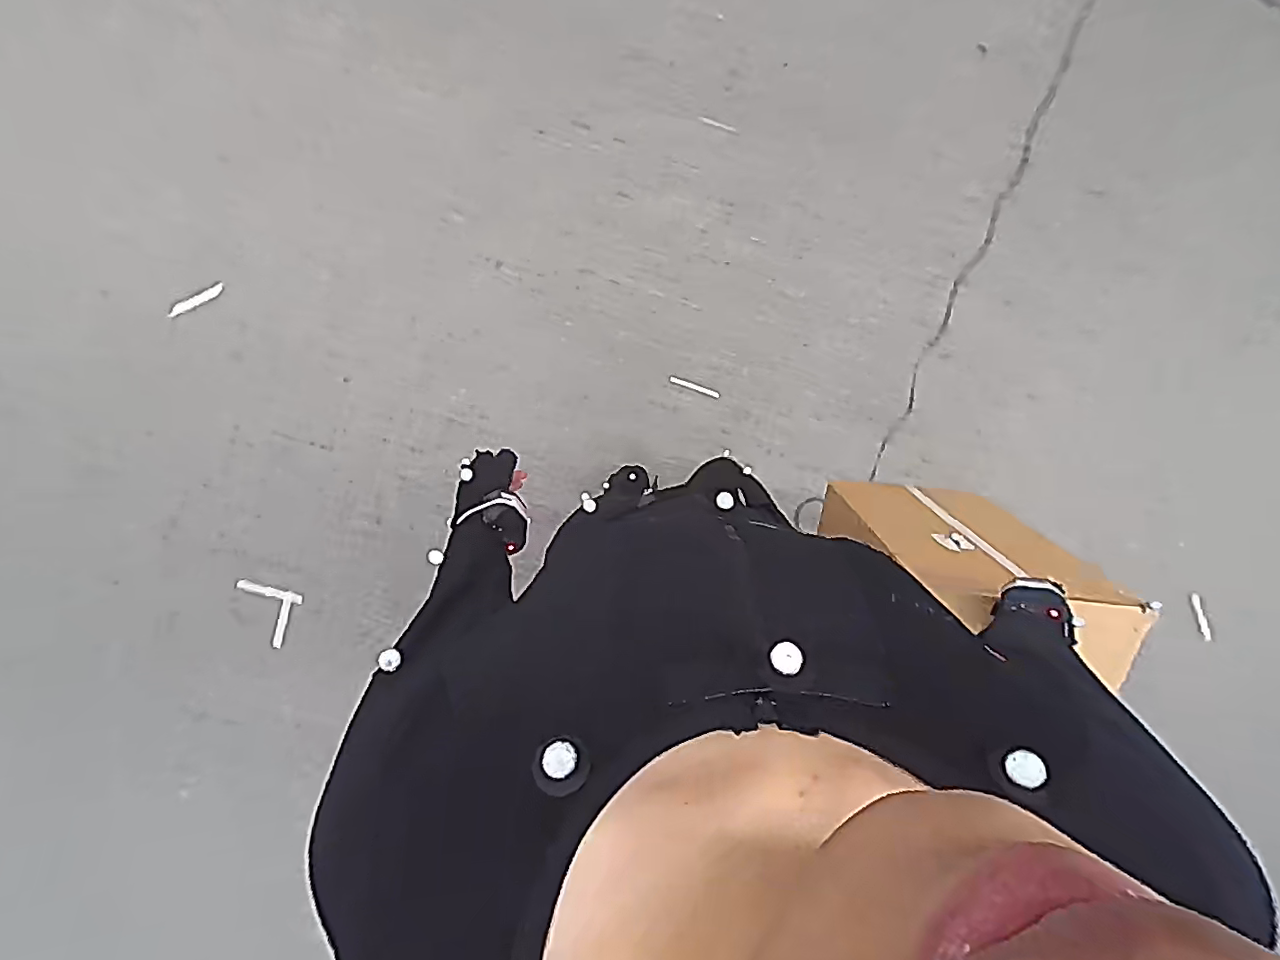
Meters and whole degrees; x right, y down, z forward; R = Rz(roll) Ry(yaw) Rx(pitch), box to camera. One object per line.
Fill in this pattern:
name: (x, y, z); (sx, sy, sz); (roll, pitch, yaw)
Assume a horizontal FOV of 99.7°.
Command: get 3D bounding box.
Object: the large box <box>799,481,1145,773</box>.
large box: (0.512, 0.226, 0.954); (0.320, 0.408, 0.320); (5, 111, -1)
